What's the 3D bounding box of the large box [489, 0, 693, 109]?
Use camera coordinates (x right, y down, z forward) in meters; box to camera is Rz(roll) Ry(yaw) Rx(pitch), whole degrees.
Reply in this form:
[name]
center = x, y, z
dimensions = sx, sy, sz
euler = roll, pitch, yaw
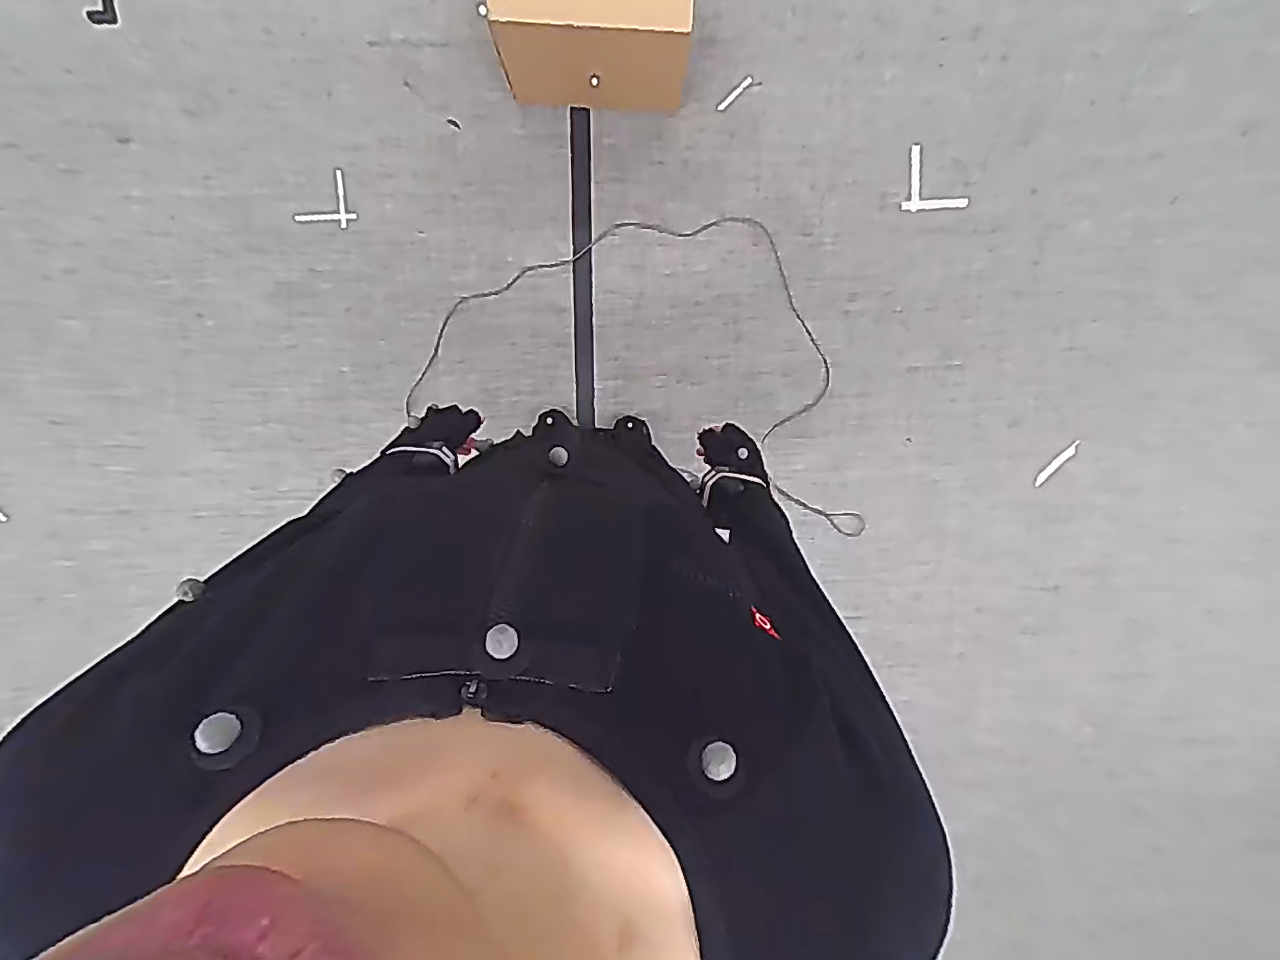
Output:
[large box]
center = -0.094, -1.061, 1.185
dimensions = 0.408, 0.320, 0.320
euler = 2, 98, -1
